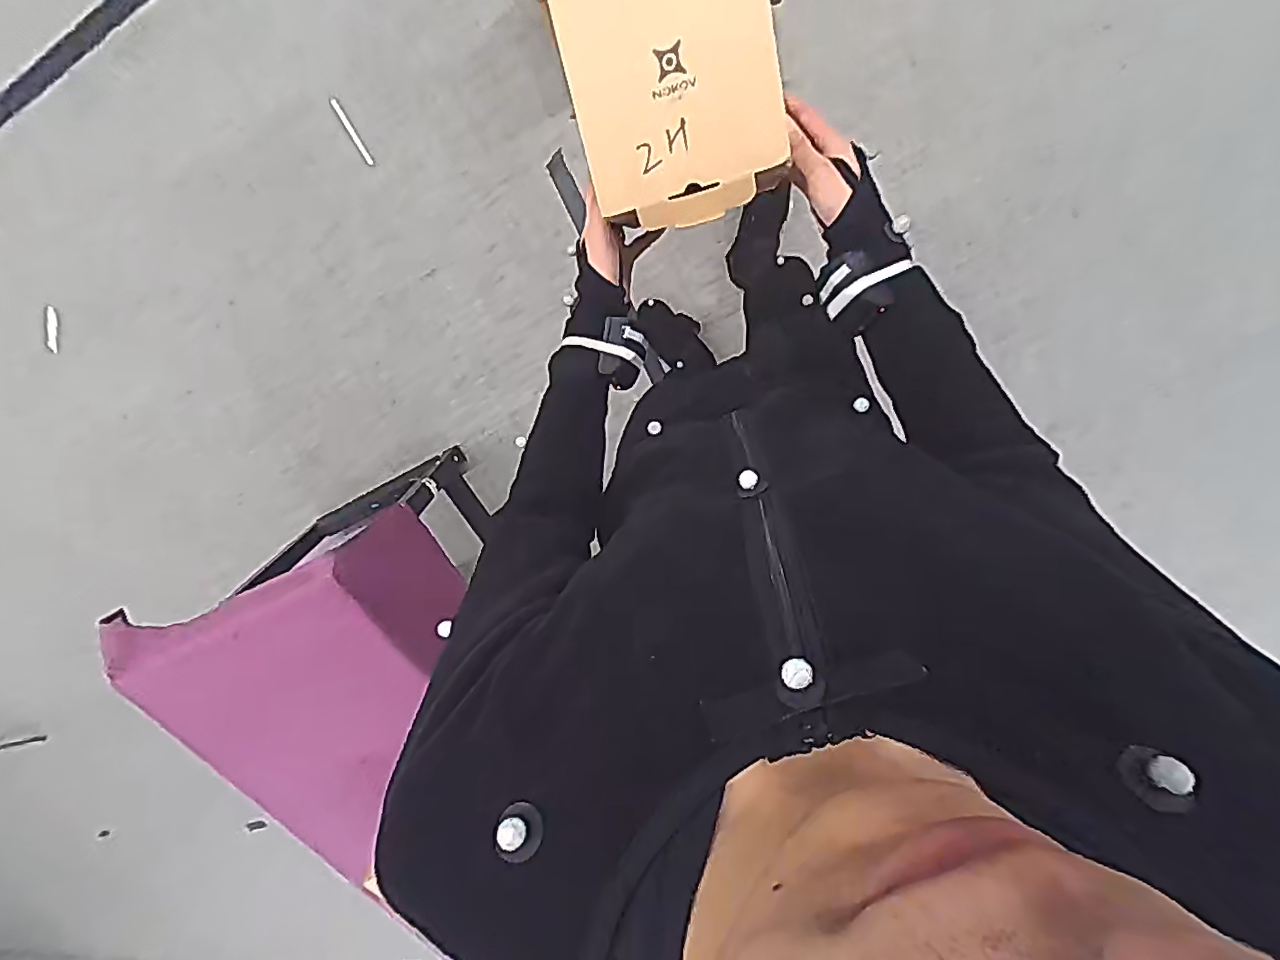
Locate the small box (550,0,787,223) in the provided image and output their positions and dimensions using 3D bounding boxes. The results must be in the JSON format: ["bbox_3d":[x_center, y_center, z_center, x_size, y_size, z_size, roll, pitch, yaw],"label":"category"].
[{"bbox_3d":[0.032,-0.355,0.502,0.168,0.176,0.179,-10,111,12],"label":"small box"}]

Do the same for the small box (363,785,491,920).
[{"bbox_3d":[-0.463,0.825,1.207,0.168,0.176,0.179,-35,109,15],"label":"small box"}]
